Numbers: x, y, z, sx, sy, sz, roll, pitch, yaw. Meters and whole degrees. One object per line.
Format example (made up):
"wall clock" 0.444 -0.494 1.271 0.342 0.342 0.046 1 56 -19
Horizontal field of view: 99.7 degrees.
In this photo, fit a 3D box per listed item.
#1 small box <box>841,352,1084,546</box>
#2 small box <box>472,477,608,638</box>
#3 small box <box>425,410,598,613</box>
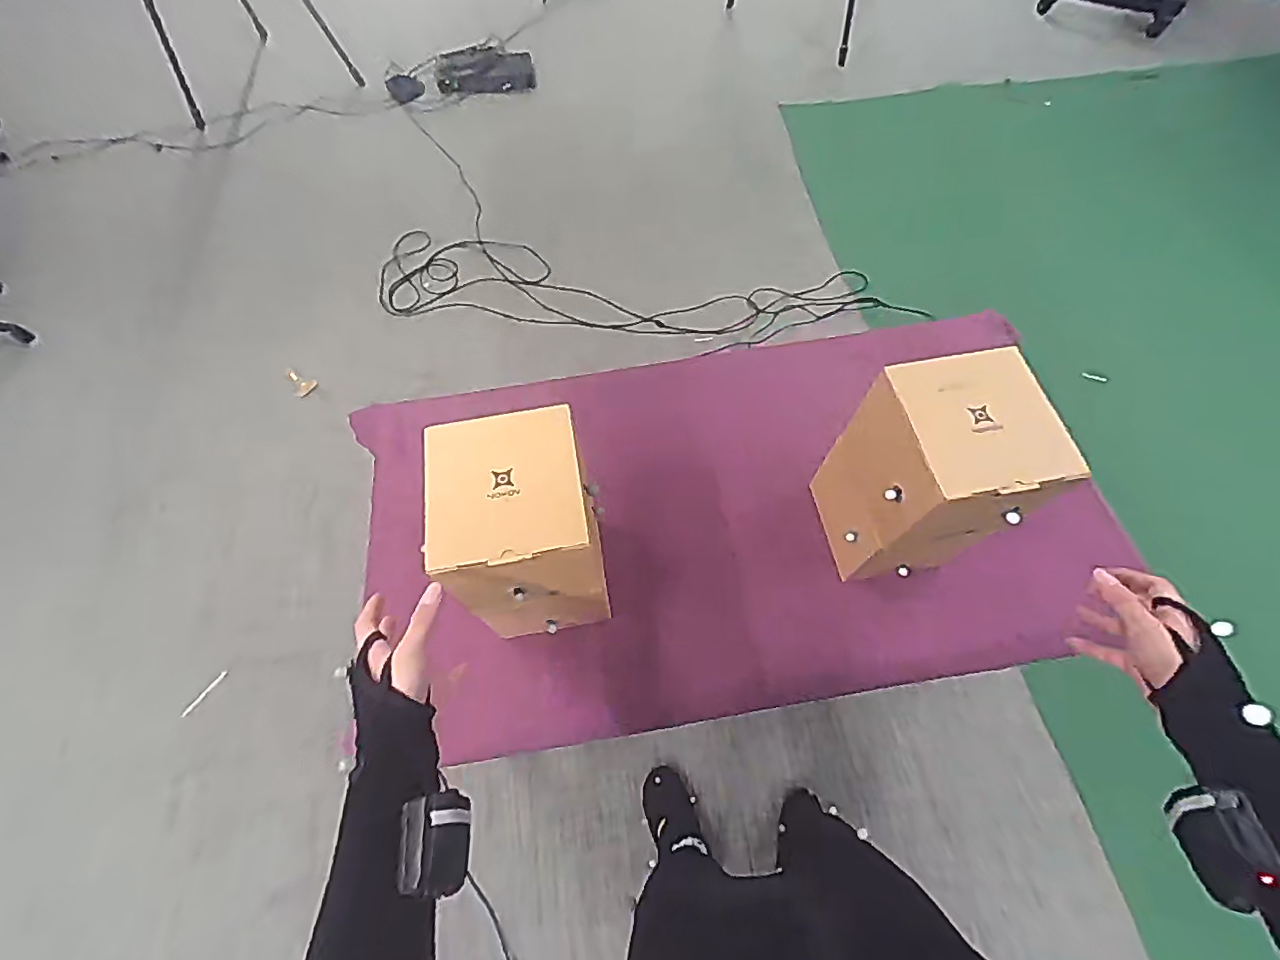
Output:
"small box" 0.373 -0.027 0.666 0.168 0.176 0.179 -9 63 -3
"small box" -0.142 0.118 0.794 0.168 0.176 0.179 -10 63 -3
"small box" -0.147 0.043 0.650 0.168 0.176 0.179 -10 64 -4
